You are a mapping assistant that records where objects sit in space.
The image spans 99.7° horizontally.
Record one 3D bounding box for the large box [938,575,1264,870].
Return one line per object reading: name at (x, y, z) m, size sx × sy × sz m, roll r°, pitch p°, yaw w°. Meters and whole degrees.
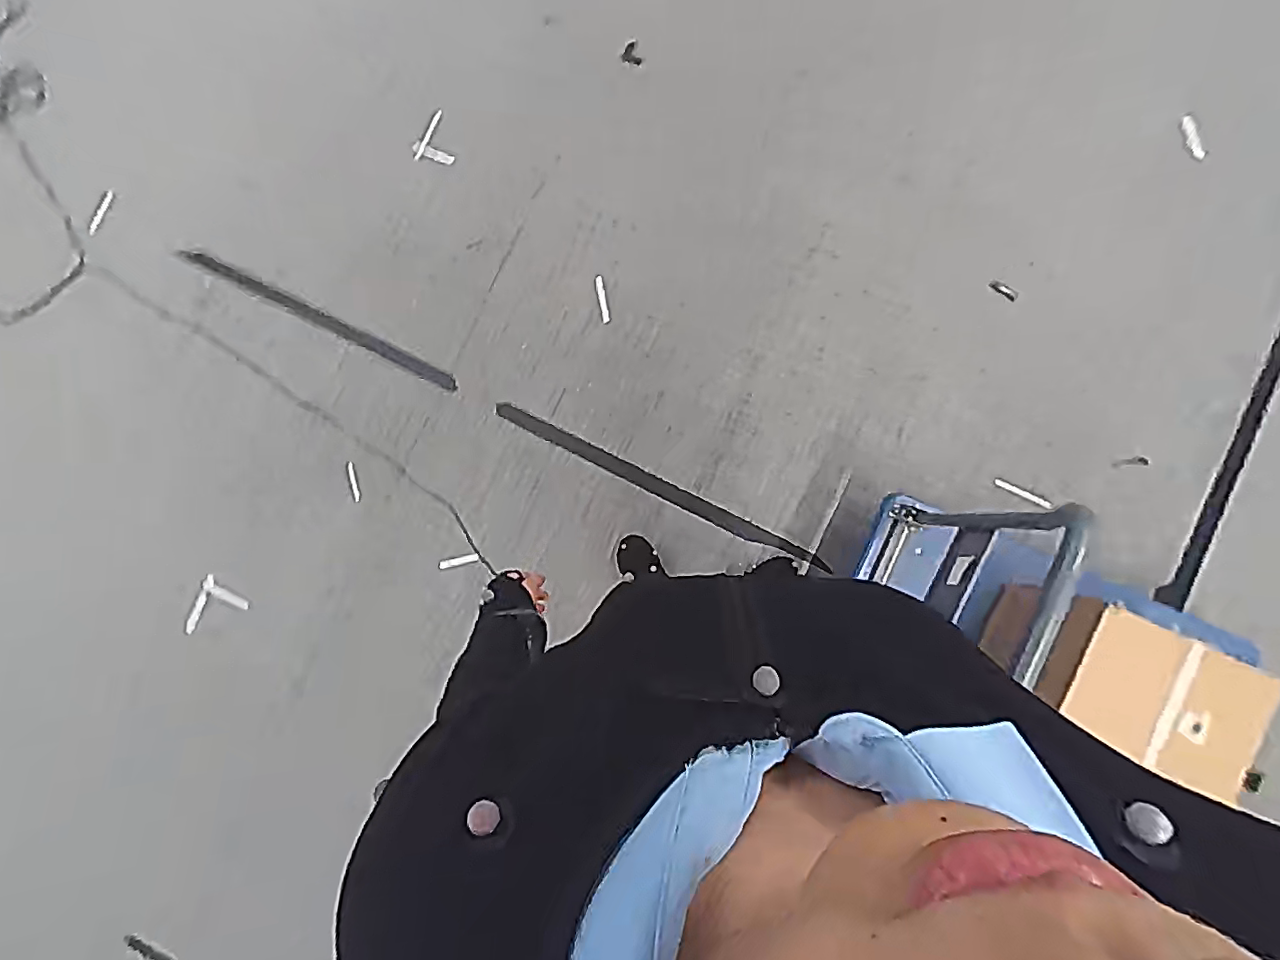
large box at (0.894, 0.452, 1.108) m, size 0.320 × 0.320 × 0.408 m, roll 25°, pitch 88°, yaw 5°
